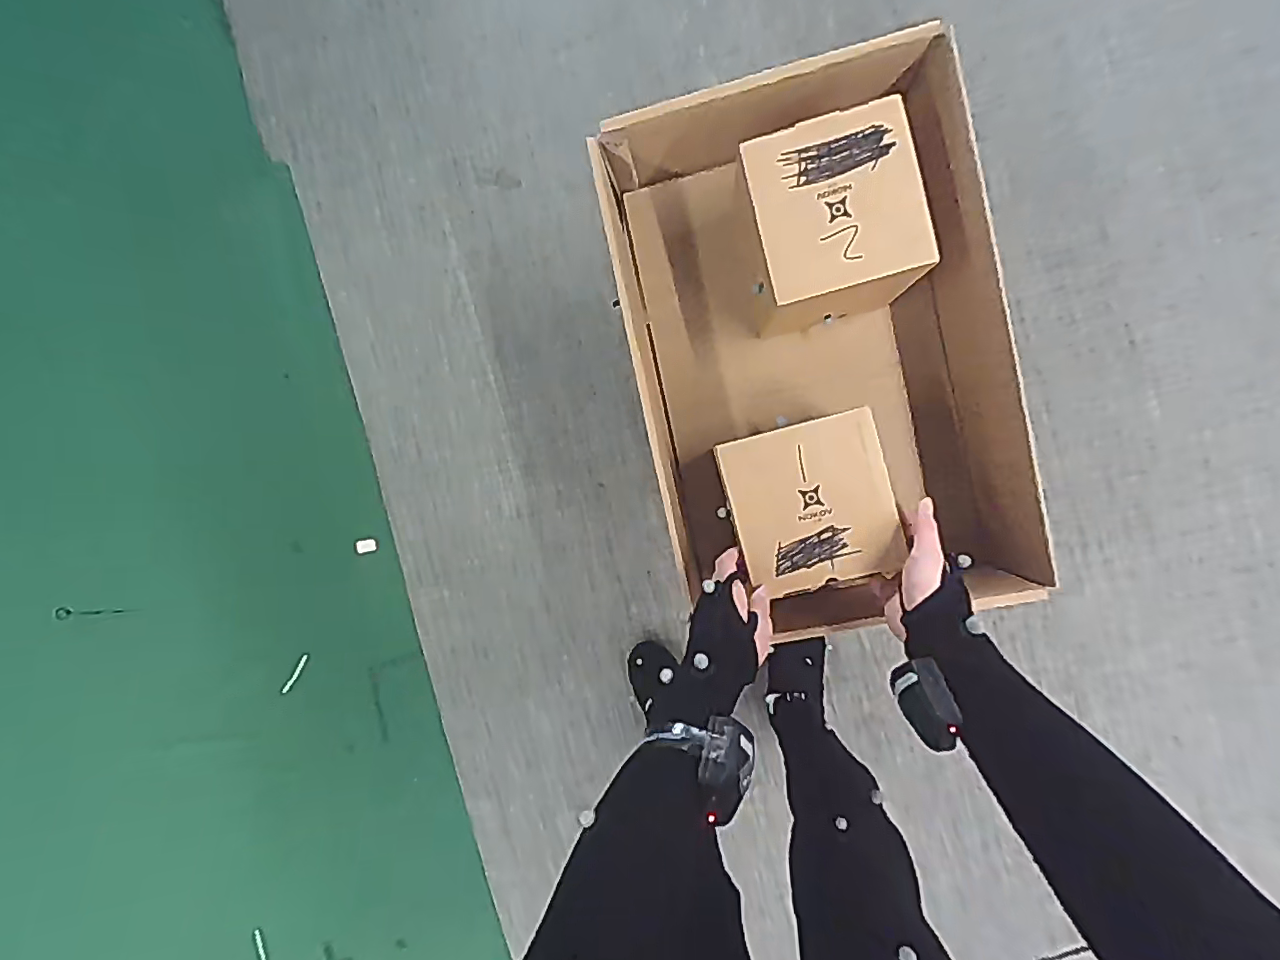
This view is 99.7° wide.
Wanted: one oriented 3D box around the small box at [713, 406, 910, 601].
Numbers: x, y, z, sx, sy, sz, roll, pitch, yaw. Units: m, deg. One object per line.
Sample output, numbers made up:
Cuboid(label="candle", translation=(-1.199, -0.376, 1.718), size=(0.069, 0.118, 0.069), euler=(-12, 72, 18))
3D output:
Cuboid(label="small box", translation=(0.187, 0.022, 0.636), size=(0.168, 0.176, 0.179), euler=(-15, 90, 7))
